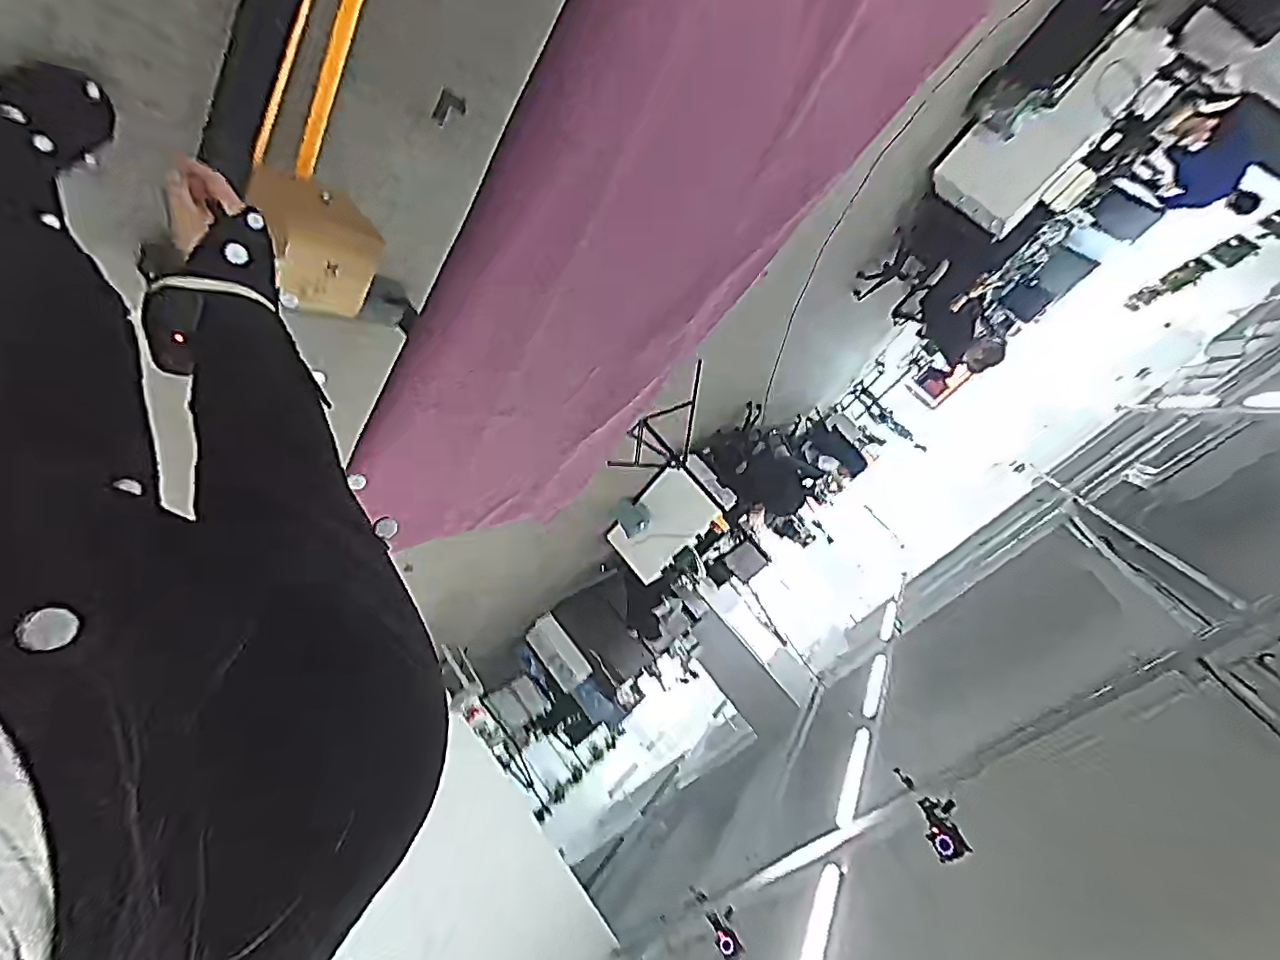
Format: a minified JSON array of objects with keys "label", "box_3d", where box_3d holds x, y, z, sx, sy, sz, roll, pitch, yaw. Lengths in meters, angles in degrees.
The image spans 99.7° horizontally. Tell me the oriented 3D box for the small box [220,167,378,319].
[{"label":"small box","box_3d":[-0.624,-0.427,0.986,0.179,0.176,0.168,-50,162,25]}]
